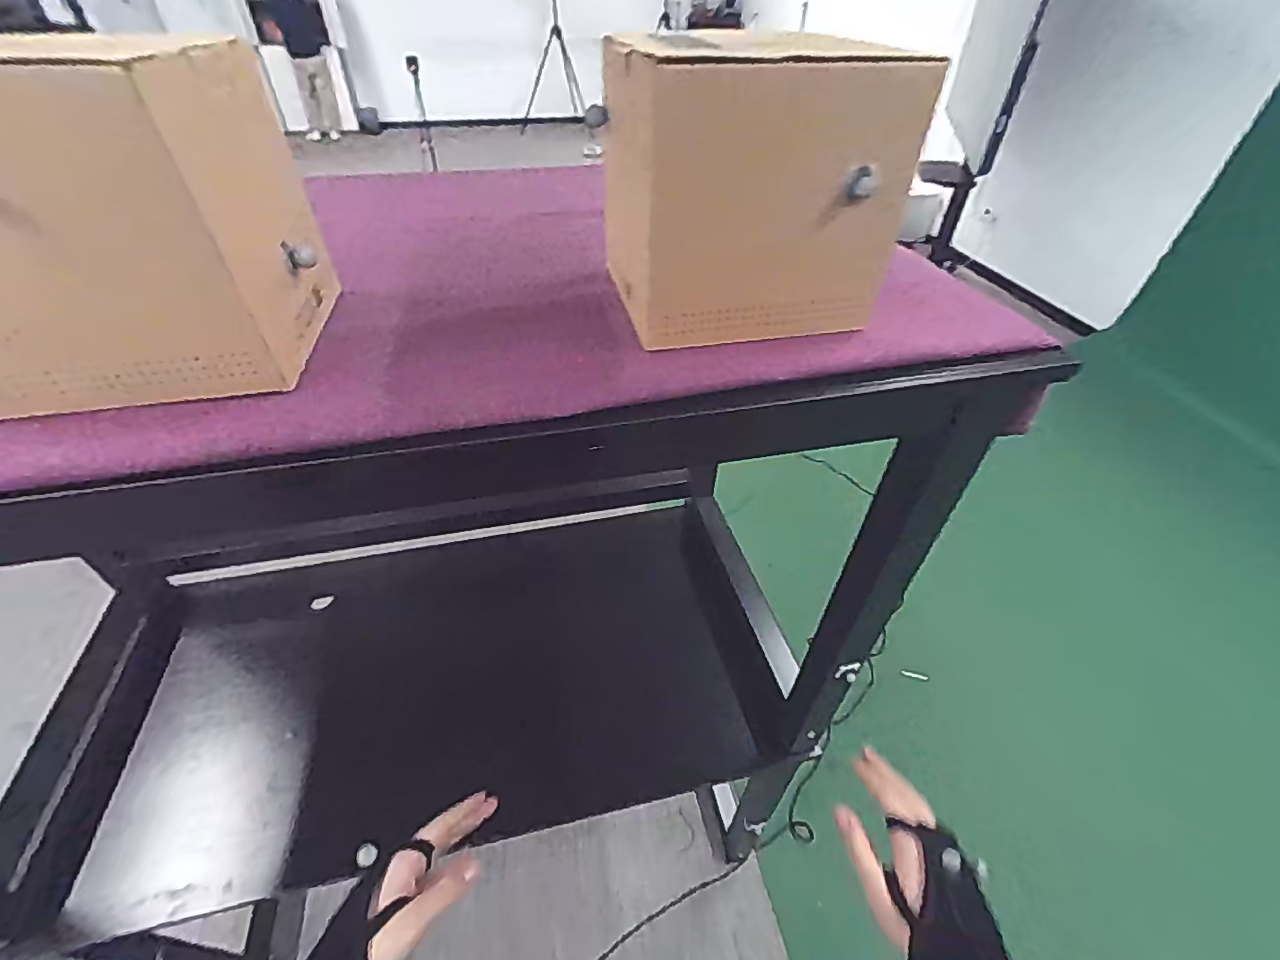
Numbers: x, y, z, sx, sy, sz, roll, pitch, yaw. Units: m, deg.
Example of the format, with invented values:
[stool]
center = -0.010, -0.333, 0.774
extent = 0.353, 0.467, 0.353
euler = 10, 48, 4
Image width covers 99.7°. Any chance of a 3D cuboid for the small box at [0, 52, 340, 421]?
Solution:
[small box]
center = -0.324, -0.152, 0.338
extent = 0.179, 0.176, 0.168
euler = -9, 43, -8
